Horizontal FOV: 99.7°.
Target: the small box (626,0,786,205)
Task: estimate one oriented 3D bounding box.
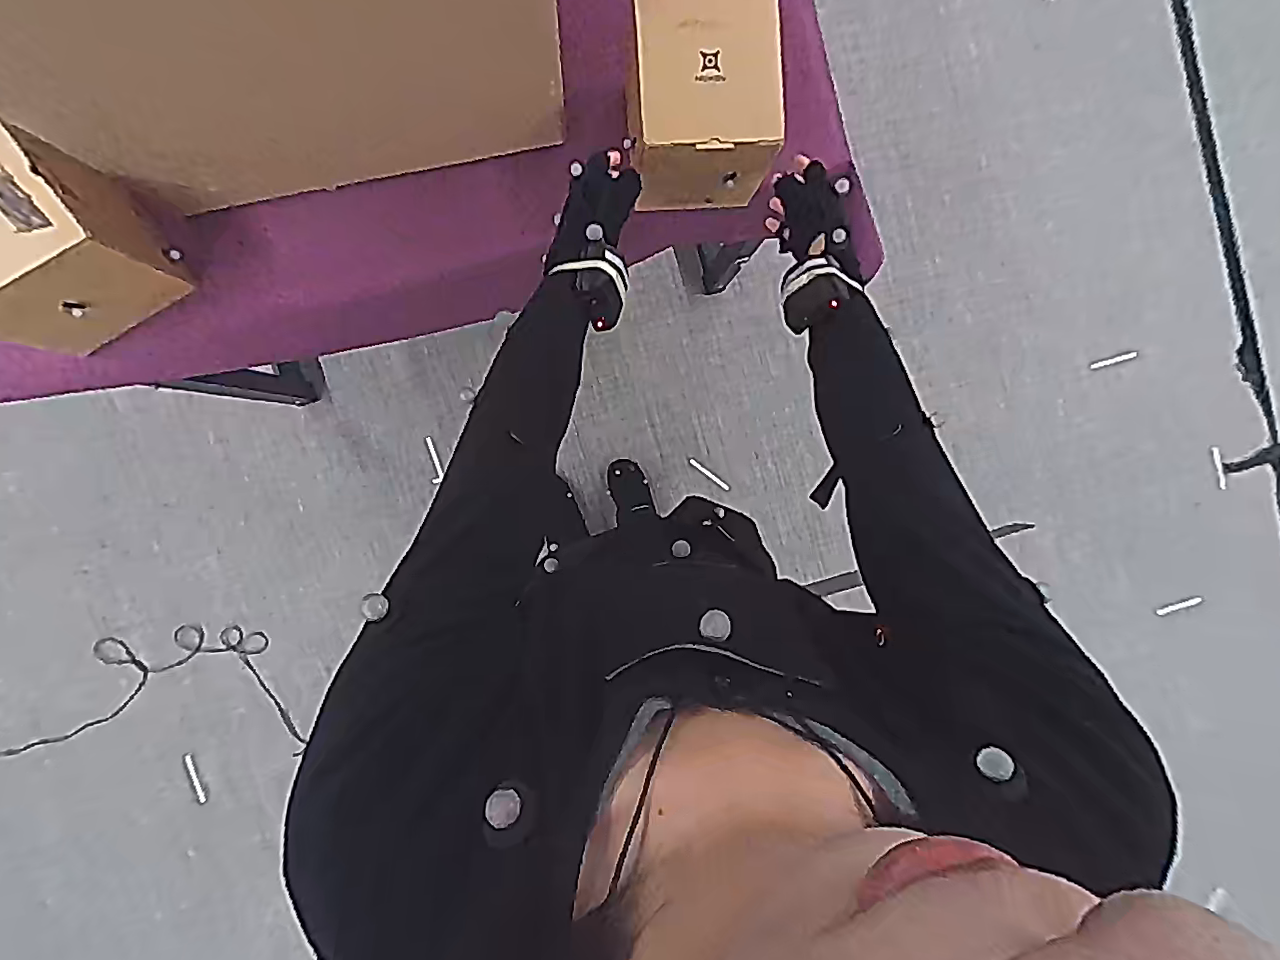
[{"bbox_3d":[0.074,-0.468,0.686,0.168,0.176,0.179,-5,92,-5],"label":"small box"}]
